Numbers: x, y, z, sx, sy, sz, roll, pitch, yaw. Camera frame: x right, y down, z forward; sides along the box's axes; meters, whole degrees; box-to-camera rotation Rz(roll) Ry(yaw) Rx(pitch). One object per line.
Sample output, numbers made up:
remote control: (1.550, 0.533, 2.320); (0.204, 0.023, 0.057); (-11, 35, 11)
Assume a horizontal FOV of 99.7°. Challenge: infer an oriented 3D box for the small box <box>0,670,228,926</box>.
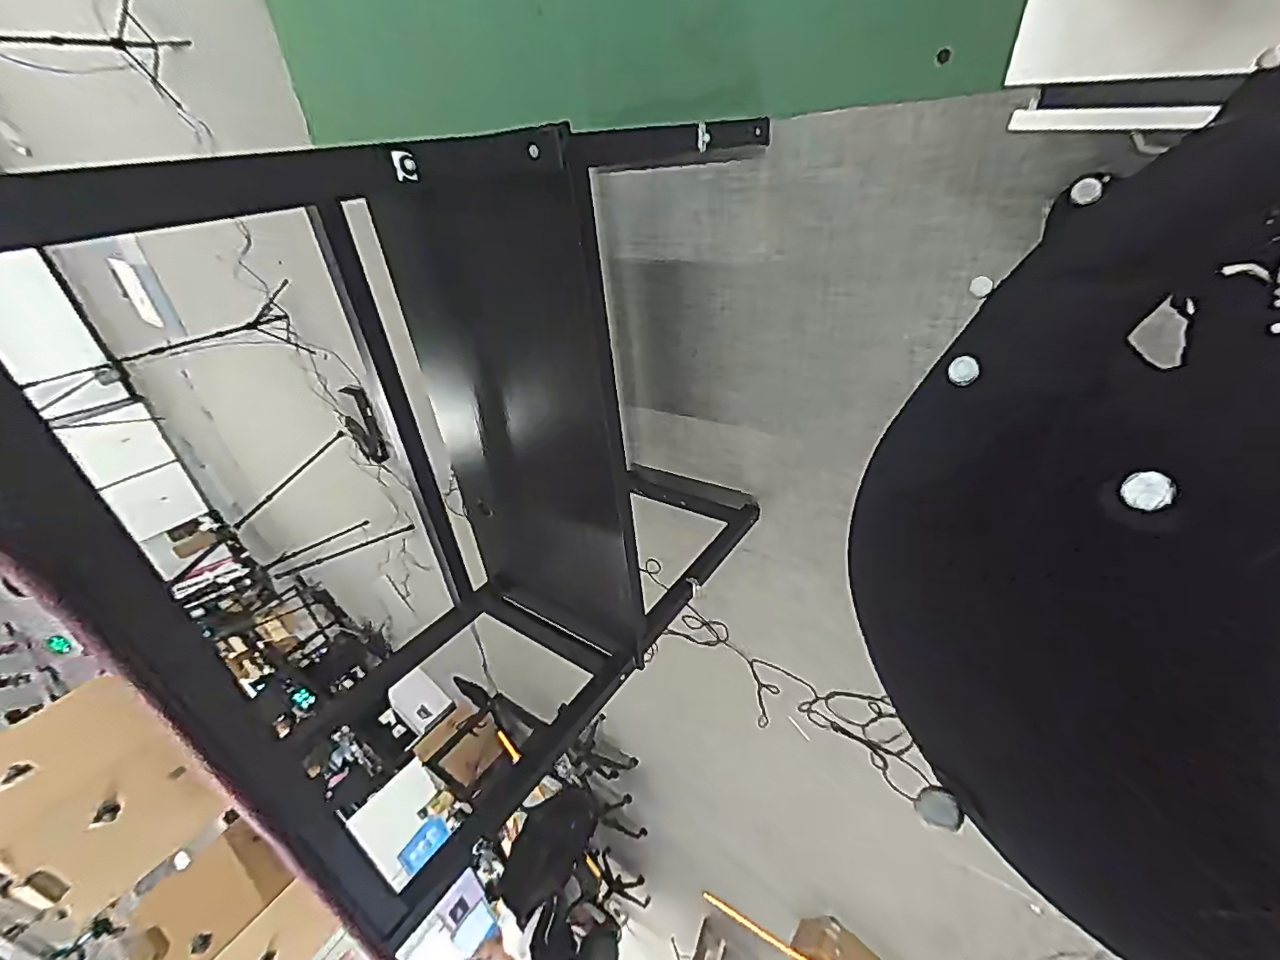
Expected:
small box: (-0.642, 0.365, 0.651); (0.179, 0.176, 0.168); (19, 128, 32)
